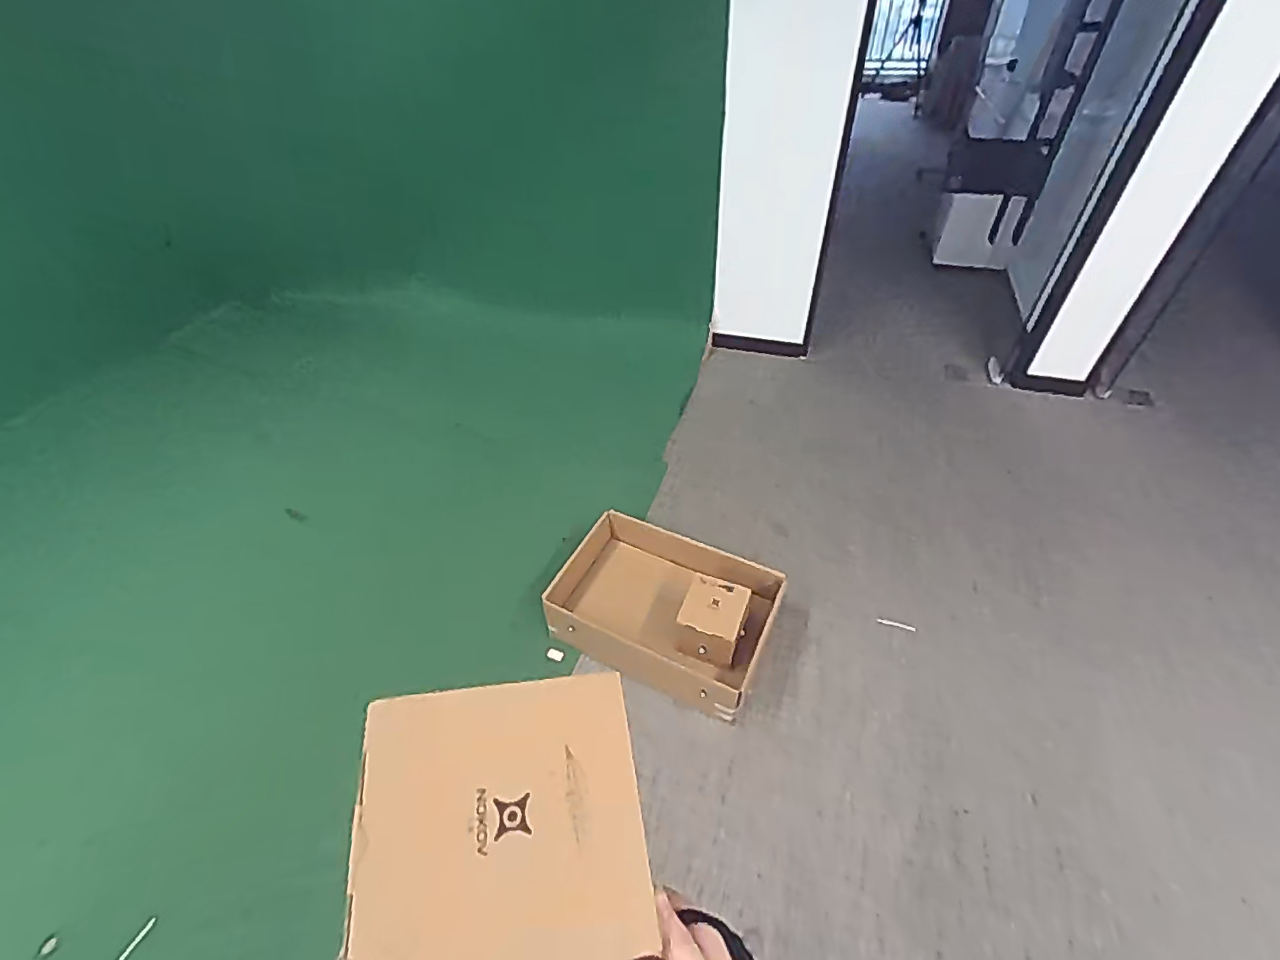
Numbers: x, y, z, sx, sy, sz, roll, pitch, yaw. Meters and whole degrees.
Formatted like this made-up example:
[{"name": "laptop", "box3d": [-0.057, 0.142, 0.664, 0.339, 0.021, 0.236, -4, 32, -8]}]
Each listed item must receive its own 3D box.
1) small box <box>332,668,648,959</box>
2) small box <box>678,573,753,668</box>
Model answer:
[{"name": "small box", "box3d": [-0.106, 0.257, 0.407, 0.179, 0.176, 0.168, -1, 54, -15]}, {"name": "small box", "box3d": [0.215, 0.401, 1.533, 0.168, 0.176, 0.179, 15, 49, 19]}]
